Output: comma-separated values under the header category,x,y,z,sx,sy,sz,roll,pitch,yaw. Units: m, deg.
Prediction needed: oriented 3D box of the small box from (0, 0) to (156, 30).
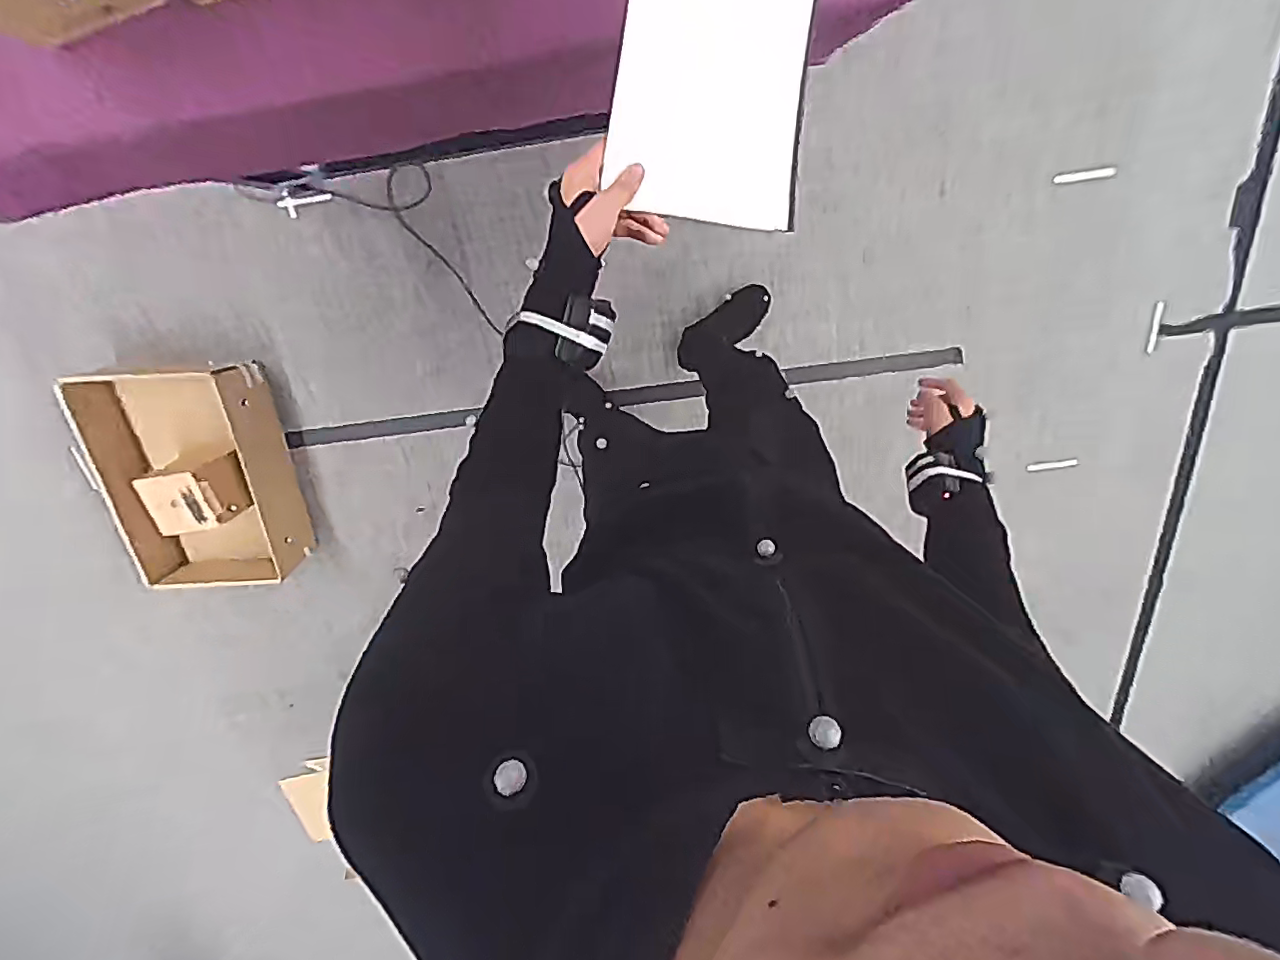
category,x,y,z,sx,sy,sz,roll,pitch,yaw
small box,-0.634,-0.577,0.521,0.168,0.176,0.179,-15,112,4
